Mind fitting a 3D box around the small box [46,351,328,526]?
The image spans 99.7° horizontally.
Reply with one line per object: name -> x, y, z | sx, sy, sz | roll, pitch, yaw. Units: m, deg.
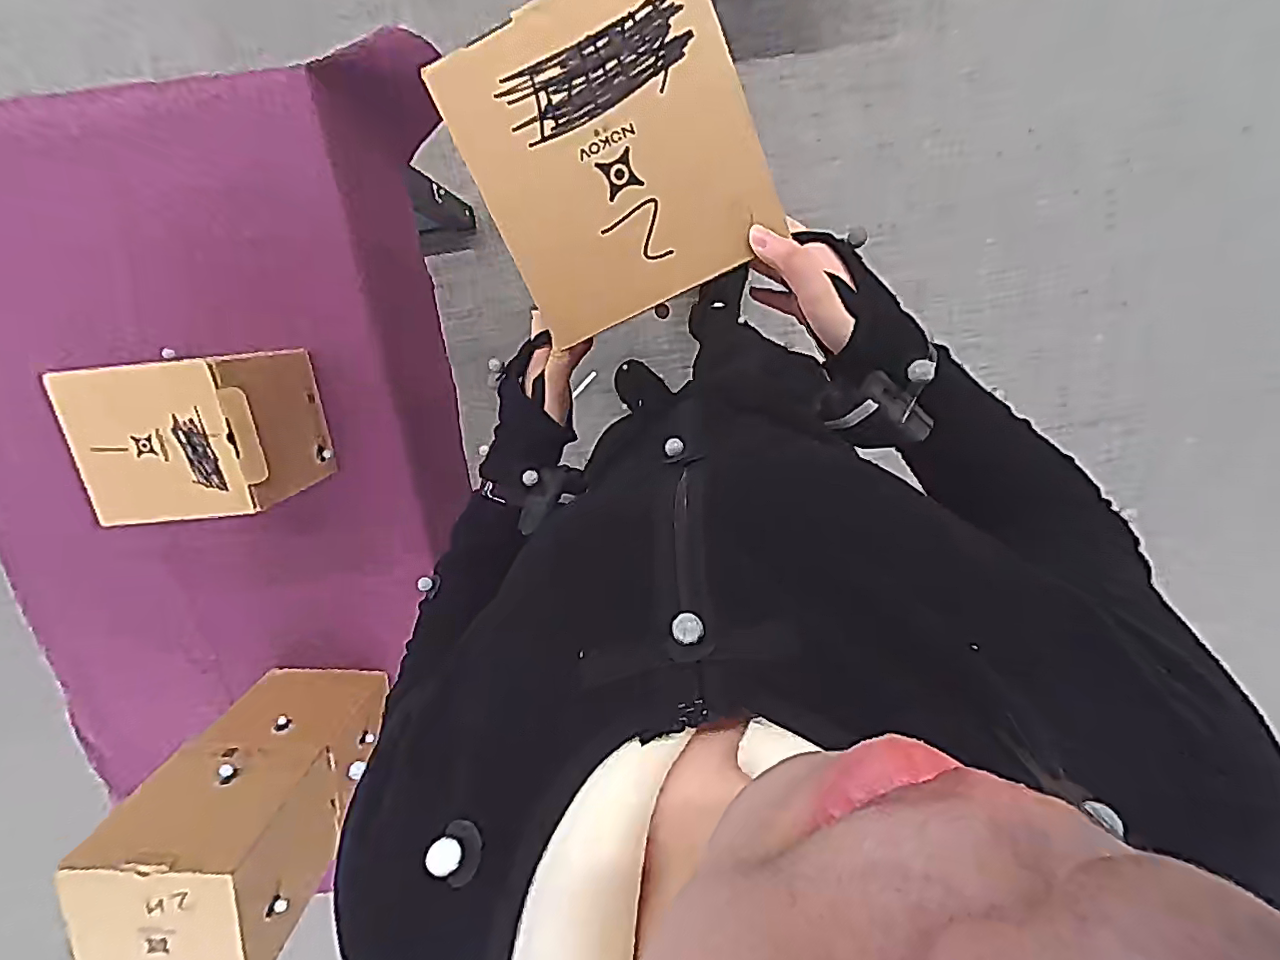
small box -> -0.501, -0.058, 0.636 | 0.179, 0.176, 0.168 | -5, 106, 2

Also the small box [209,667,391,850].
small box -> -0.471, 0.386, 0.769 | 0.179, 0.176, 0.168 | 3, 105, -2

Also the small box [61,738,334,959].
small box -> -0.470, 0.426, 0.610 | 0.168, 0.176, 0.179 | 4, 105, -3
